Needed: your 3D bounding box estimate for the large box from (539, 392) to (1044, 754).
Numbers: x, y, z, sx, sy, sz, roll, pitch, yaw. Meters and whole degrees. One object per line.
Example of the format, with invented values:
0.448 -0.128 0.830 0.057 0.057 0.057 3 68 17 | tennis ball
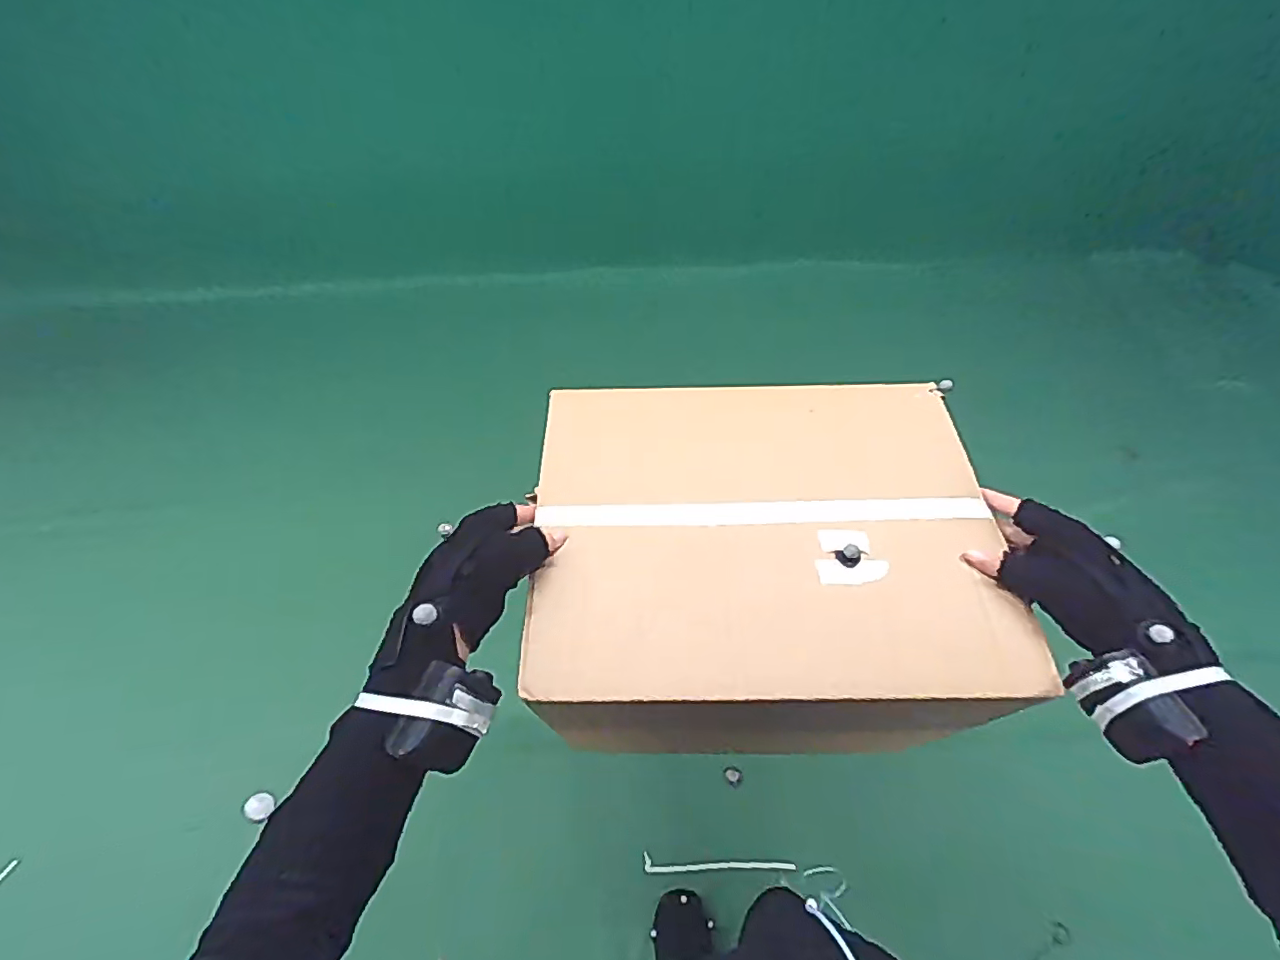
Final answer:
0.116 0.119 0.624 0.408 0.320 0.320 -1 56 0 | large box
